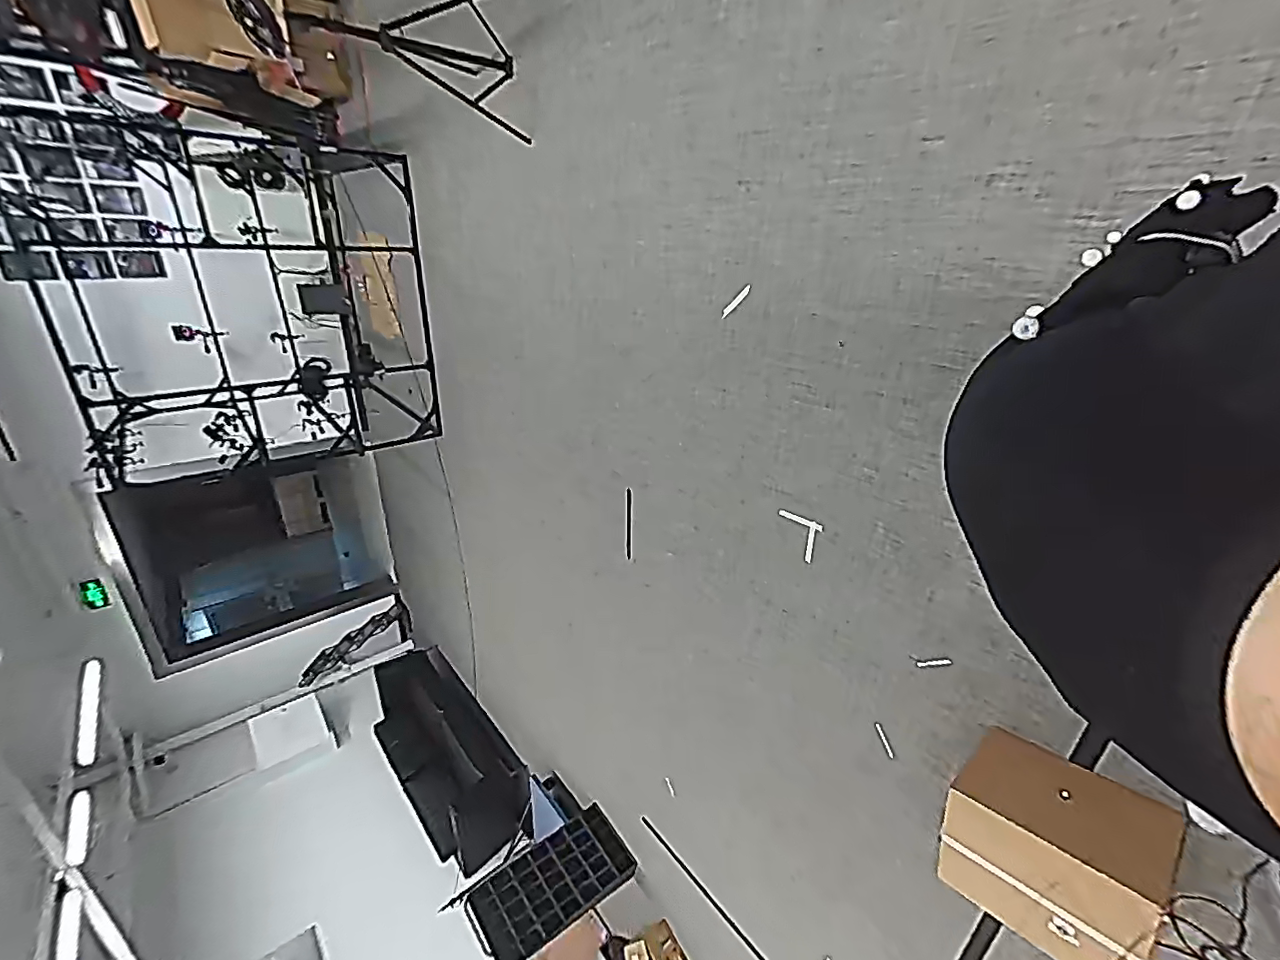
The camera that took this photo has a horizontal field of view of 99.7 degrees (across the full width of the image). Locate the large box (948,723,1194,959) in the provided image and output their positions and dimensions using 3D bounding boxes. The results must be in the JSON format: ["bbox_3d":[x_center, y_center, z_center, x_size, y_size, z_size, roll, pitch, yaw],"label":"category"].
[{"bbox_3d":[1.046,0.894,1.341,0.408,0.320,0.320,16,116,47],"label":"large box"}]
